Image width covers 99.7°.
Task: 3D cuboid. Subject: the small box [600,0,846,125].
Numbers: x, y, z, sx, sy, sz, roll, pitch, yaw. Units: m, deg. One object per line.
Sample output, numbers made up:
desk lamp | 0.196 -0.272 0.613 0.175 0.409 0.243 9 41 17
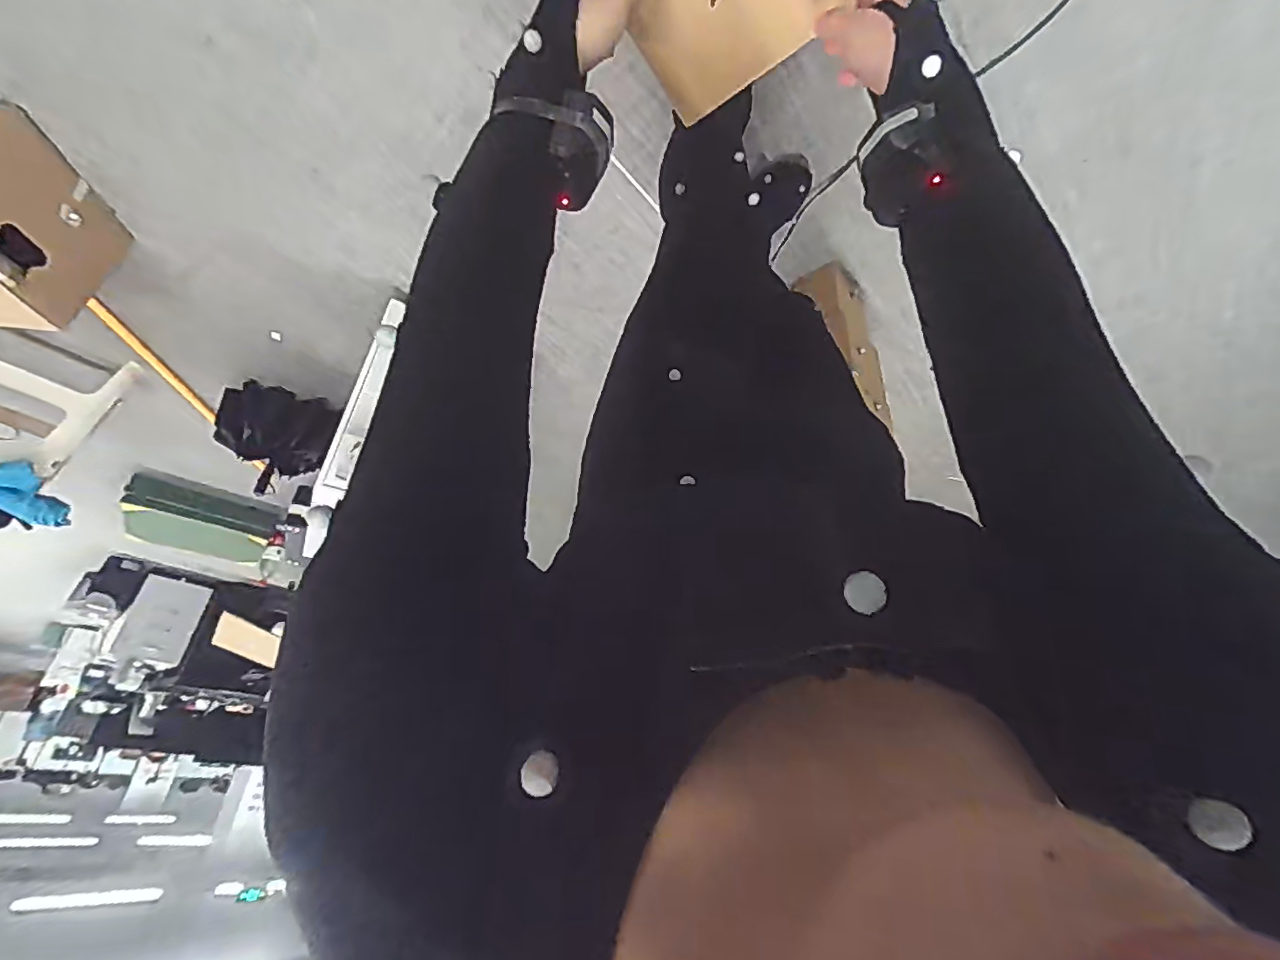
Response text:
small box | 0.068 -0.487 0.493 0.179 0.176 0.168 -18 145 33

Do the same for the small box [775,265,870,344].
small box | 0.440 -0.392 1.315 0.168 0.176 0.179 -20 143 39

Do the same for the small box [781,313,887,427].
small box | 0.436 -0.252 1.231 0.179 0.176 0.168 27 146 -37
